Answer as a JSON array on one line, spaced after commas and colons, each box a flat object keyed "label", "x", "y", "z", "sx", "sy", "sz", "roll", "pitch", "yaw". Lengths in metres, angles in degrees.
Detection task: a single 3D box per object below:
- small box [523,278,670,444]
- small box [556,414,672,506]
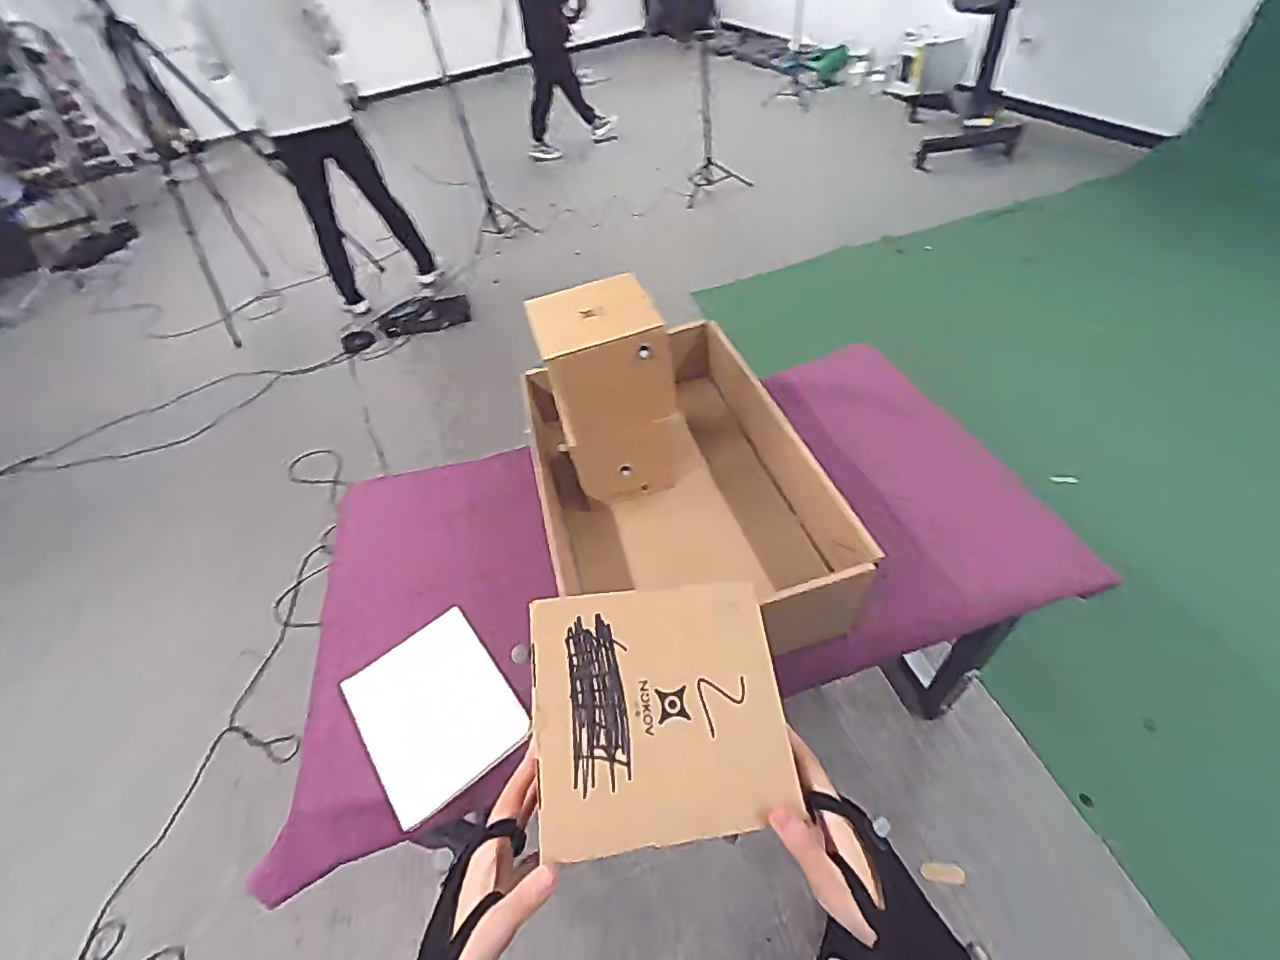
[{"label": "small box", "x": -0.064, "y": -0.180, "z": 0.839, "sx": 0.179, "sy": 0.176, "sz": 0.168, "roll": -18, "pitch": 48, "yaw": -6}, {"label": "small box", "x": -0.048, "y": -0.074, "z": 0.960, "sx": 0.168, "sy": 0.176, "sz": 0.179, "roll": -16, "pitch": 48, "yaw": -5}]
